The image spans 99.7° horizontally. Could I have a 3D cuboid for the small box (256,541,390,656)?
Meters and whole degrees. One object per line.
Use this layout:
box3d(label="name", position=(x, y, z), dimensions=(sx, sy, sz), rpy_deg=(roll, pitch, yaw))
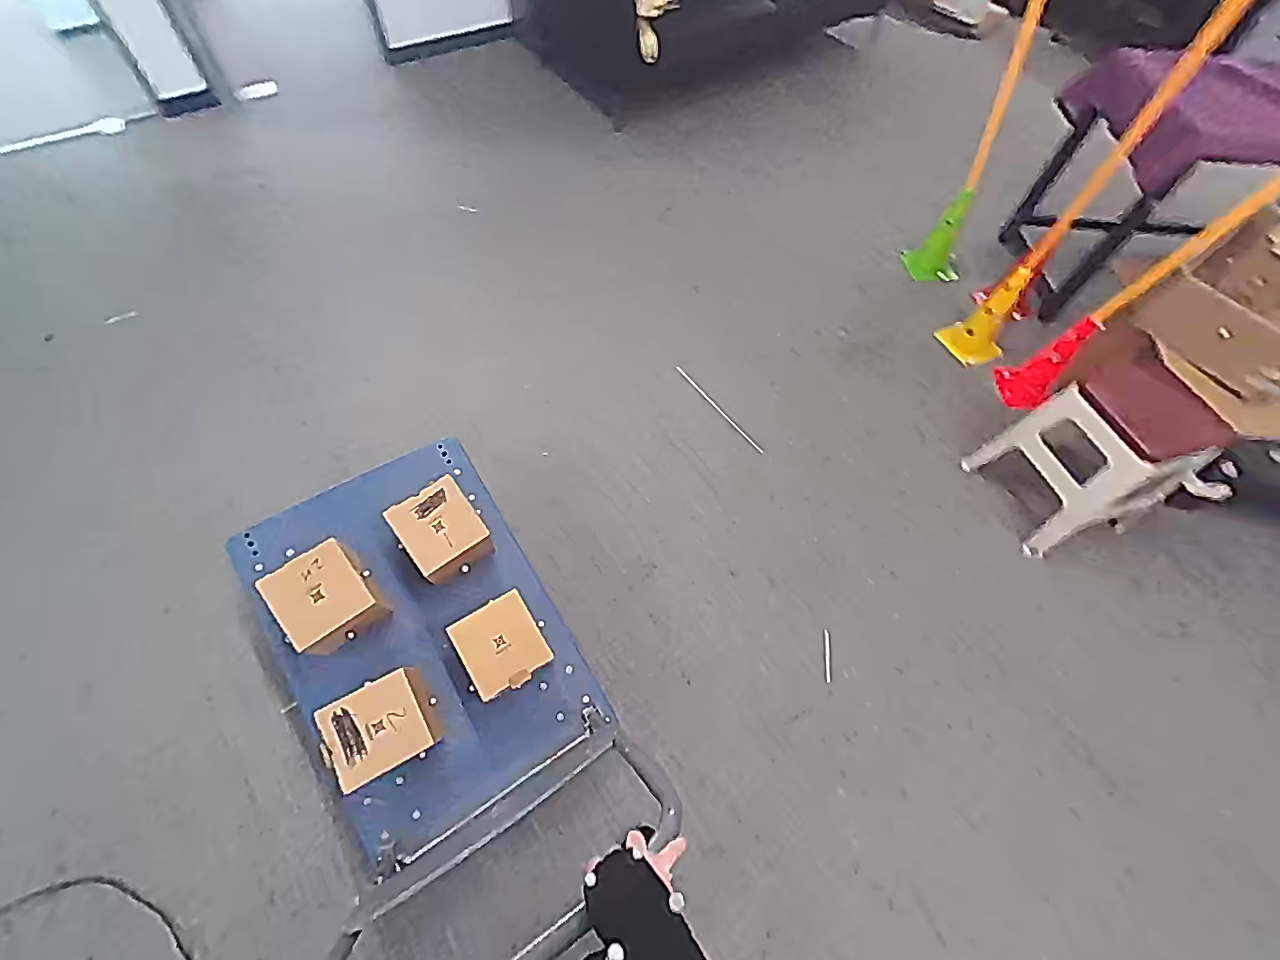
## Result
box3d(label="small box", position=(-0.674, 0.260, 1.172), dimensions=(0.168, 0.176, 0.179), rpy_deg=(-34, 81, -21))

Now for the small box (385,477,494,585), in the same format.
box3d(label="small box", position=(-0.459, 0.126, 1.263), dimensions=(0.168, 0.176, 0.179), rpy_deg=(-34, 81, -19))

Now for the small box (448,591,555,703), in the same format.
box3d(label="small box", position=(-0.306, 0.374, 1.209), dimensions=(0.168, 0.176, 0.179), rpy_deg=(-29, 80, -19))
